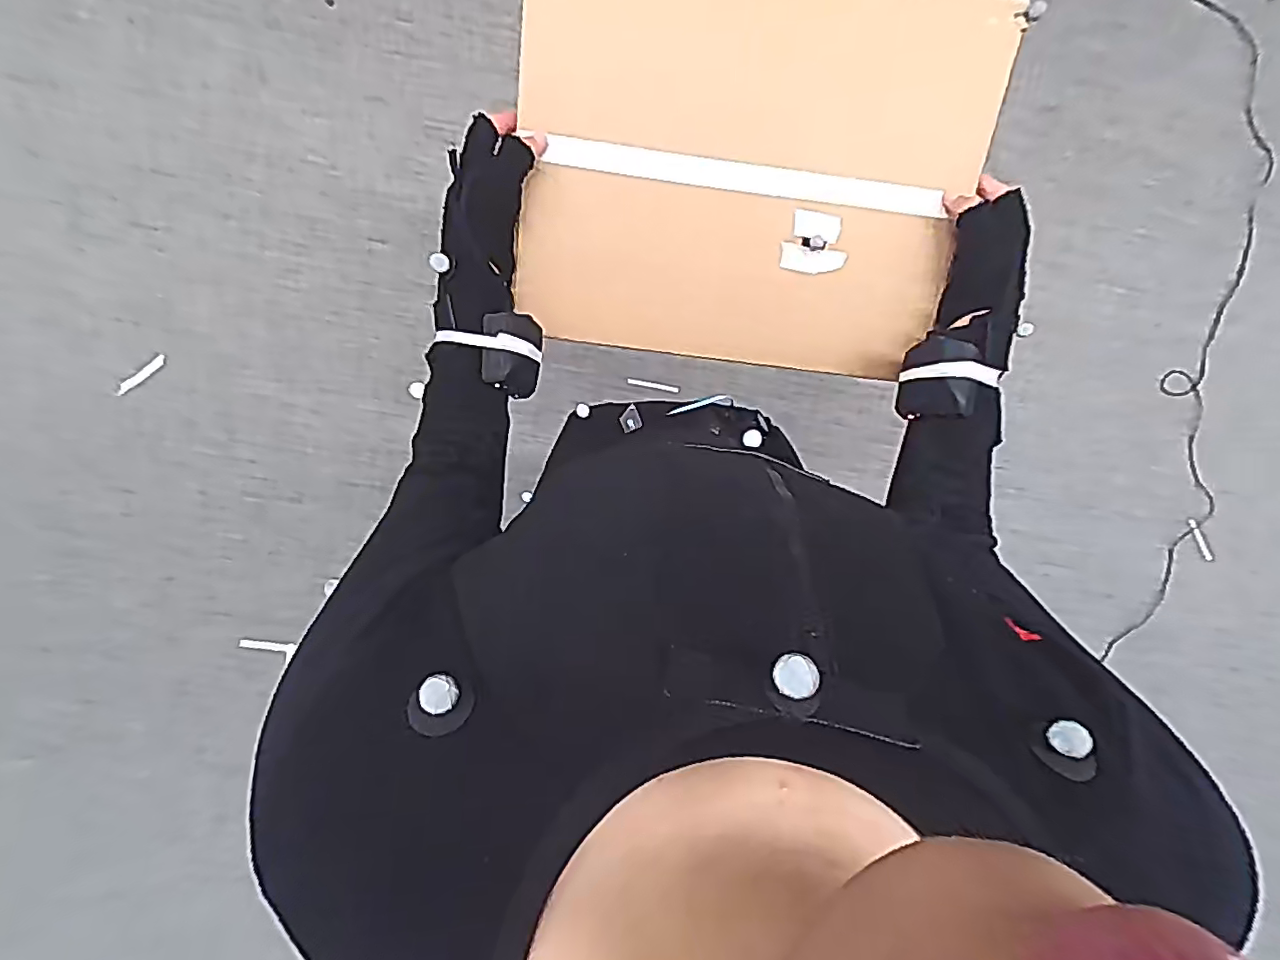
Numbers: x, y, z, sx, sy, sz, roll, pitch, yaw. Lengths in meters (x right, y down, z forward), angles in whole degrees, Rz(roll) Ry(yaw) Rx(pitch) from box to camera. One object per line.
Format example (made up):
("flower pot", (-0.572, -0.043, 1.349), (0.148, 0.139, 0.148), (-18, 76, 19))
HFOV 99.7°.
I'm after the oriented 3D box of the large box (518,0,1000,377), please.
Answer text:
("large box", (0.085, -0.312, 0.628), (0.408, 0.320, 0.320), (6, 109, -5))
